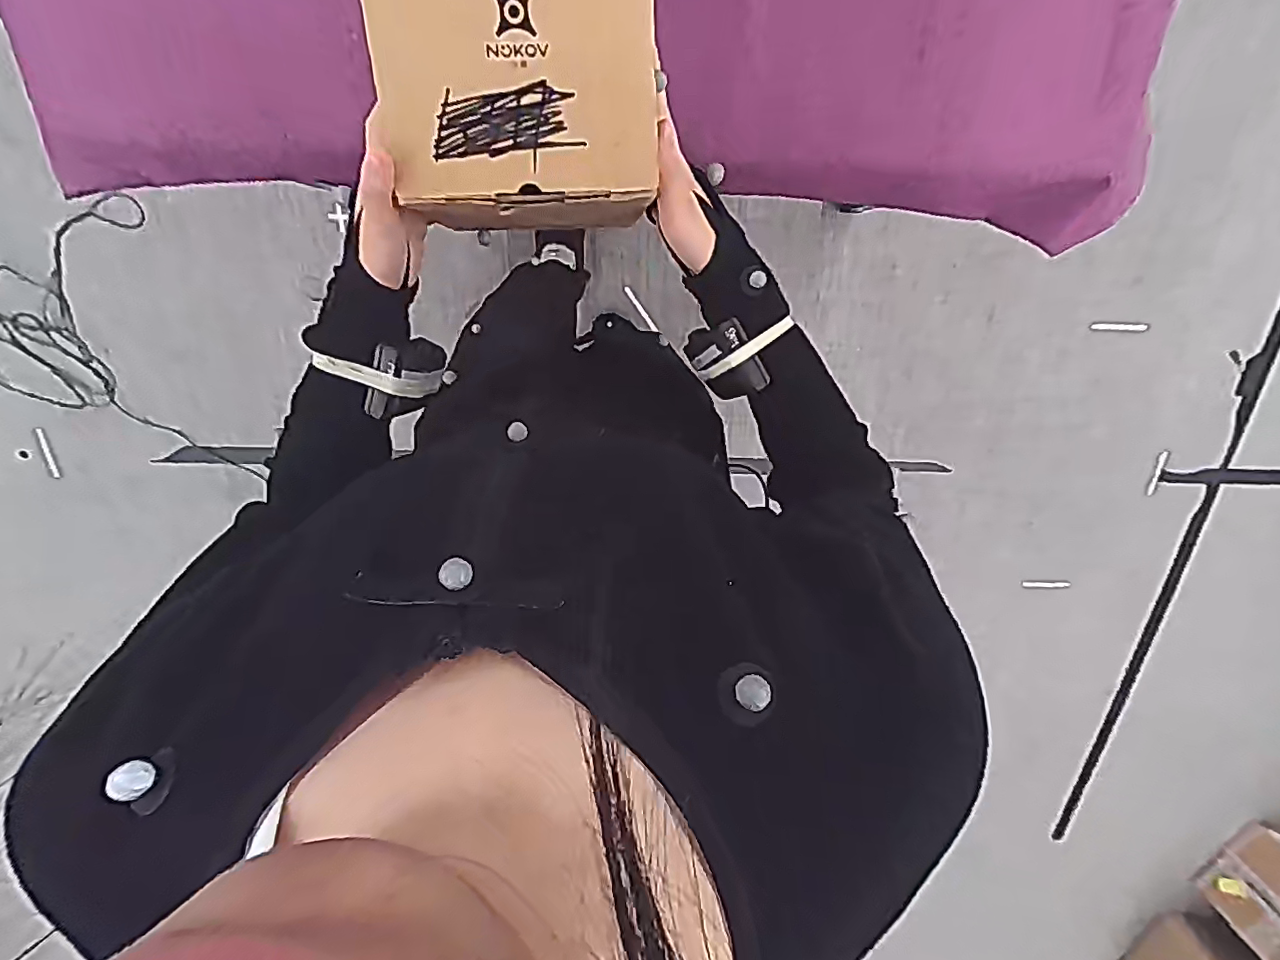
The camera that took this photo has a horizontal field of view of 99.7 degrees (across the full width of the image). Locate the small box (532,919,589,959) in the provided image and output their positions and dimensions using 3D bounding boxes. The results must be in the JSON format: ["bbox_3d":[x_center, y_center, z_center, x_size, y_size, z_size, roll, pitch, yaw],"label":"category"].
[{"bbox_3d":[-0.254,1.548,1.733,0.179,0.176,0.168,0,110,-1],"label":"small box"}]

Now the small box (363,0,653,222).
[{"bbox_3d":[-0.081,-0.288,0.387,0.168,0.176,0.179,-3,108,-5],"label":"small box"}]
